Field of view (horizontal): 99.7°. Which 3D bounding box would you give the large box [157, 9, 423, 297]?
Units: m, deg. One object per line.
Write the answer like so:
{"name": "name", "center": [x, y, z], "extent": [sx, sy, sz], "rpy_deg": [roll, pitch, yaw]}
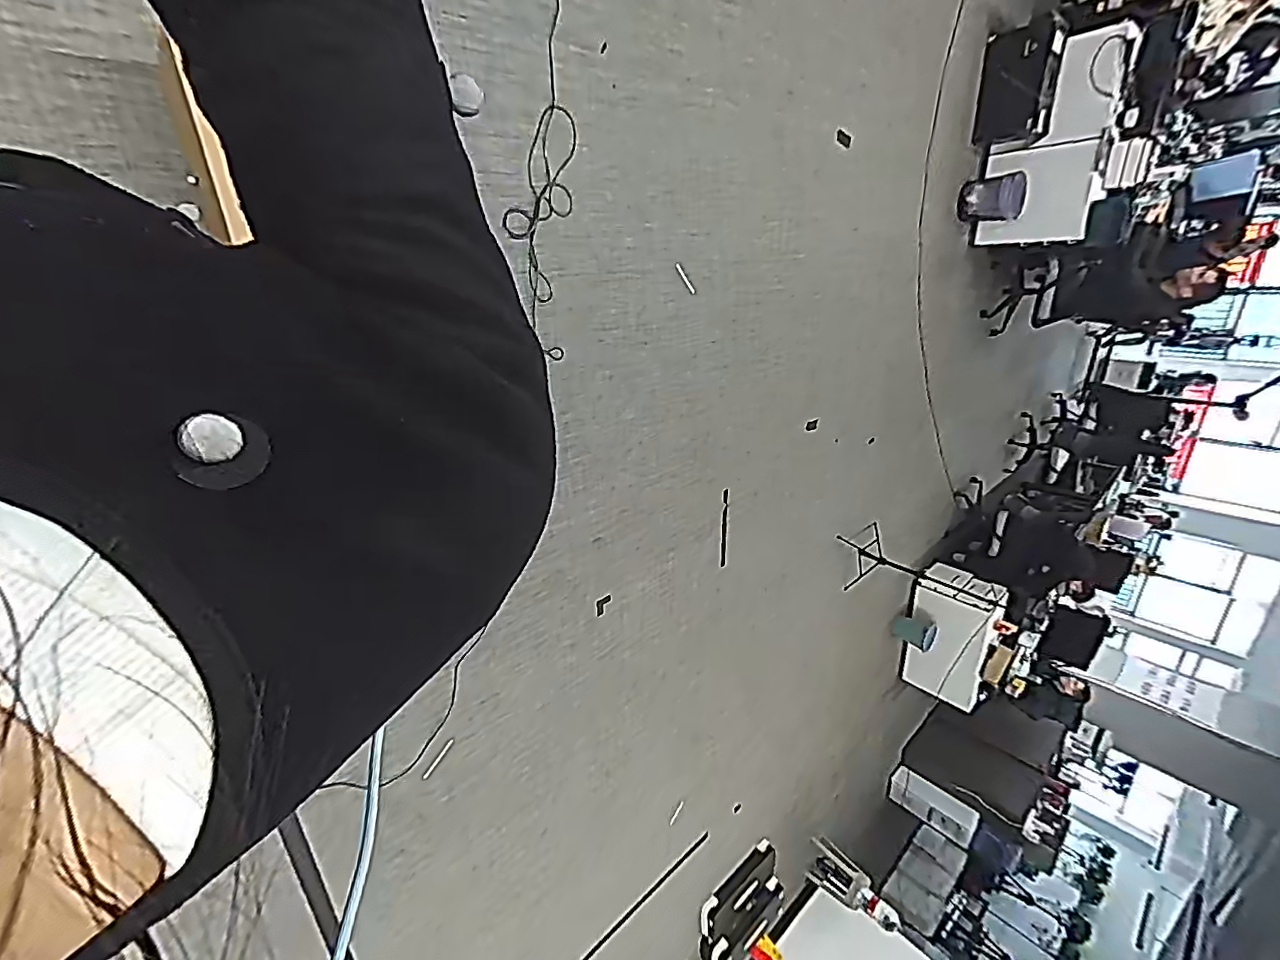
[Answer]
{"name": "large box", "center": [-0.671, -0.583, 1.055], "extent": [0.320, 0.320, 0.408], "rpy_deg": [-22, 118, -38]}
